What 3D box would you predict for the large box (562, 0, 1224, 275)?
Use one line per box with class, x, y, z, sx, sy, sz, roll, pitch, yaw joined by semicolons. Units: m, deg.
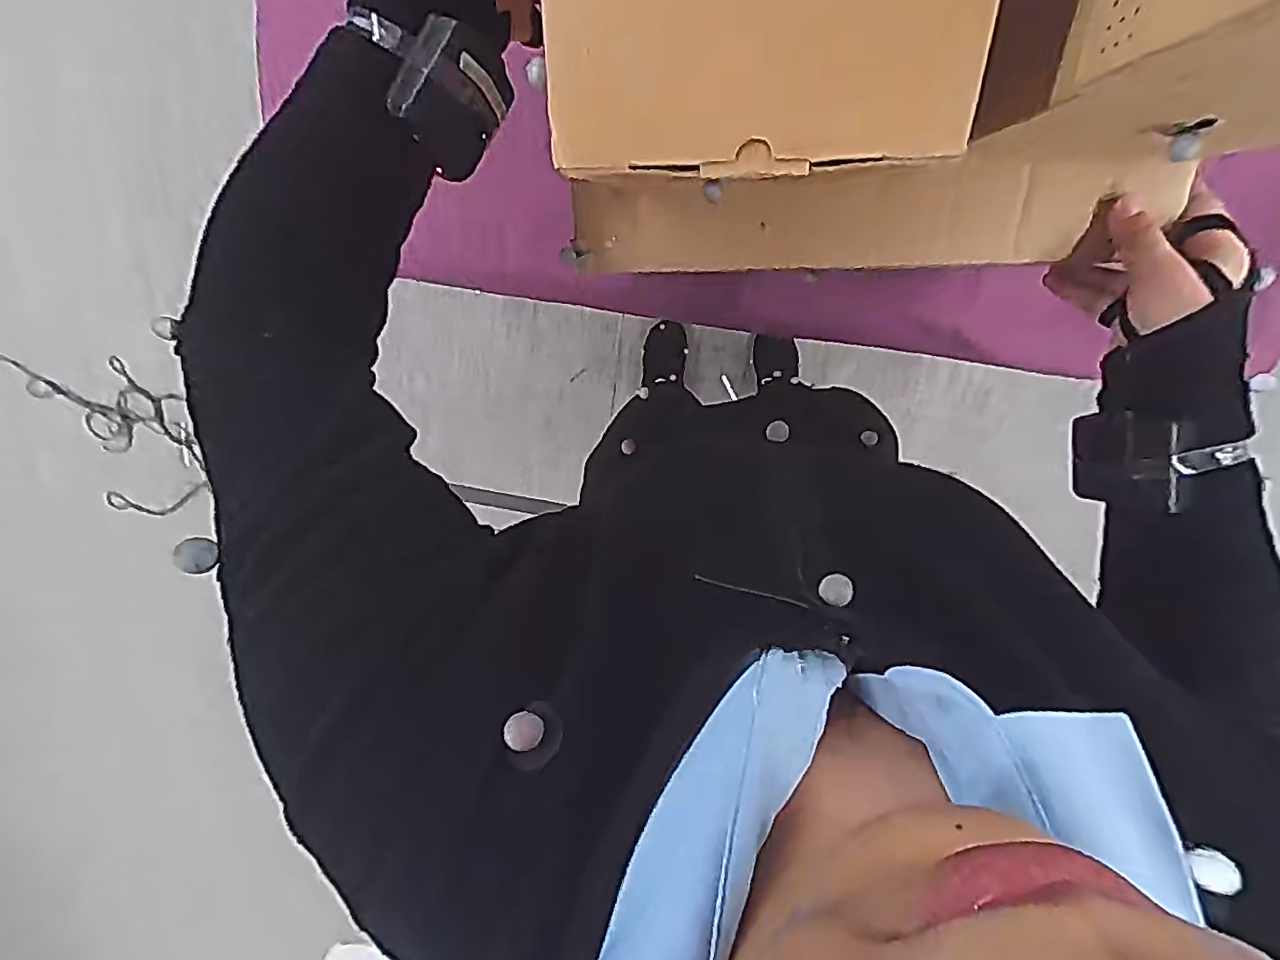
large box;0.164;-0.349;0.459;0.408;0.320;0.320;1;112;6
